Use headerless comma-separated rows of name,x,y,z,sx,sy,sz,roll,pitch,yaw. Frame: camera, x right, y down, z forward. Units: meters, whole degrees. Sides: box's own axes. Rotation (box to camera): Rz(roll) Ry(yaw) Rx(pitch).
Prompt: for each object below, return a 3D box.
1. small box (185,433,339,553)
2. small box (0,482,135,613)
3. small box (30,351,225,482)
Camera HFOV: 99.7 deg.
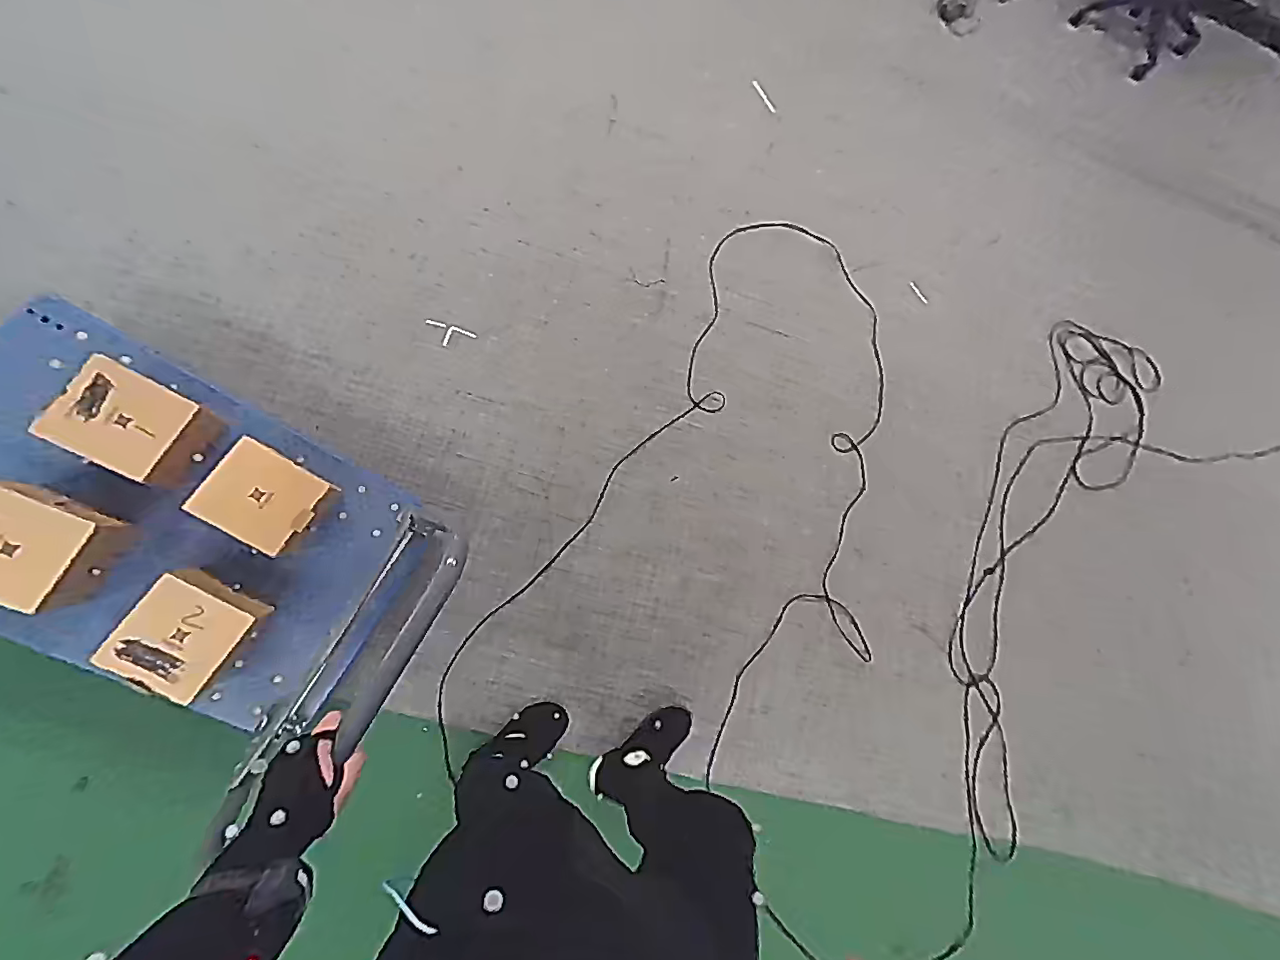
small box,-0.739,0.033,1.082,0.179,0.176,0.168,35,73,-16
small box,-1.050,0.111,0.939,0.179,0.176,0.168,30,74,-18
small box,-0.934,-0.105,1.010,0.179,0.176,0.168,32,74,-18
